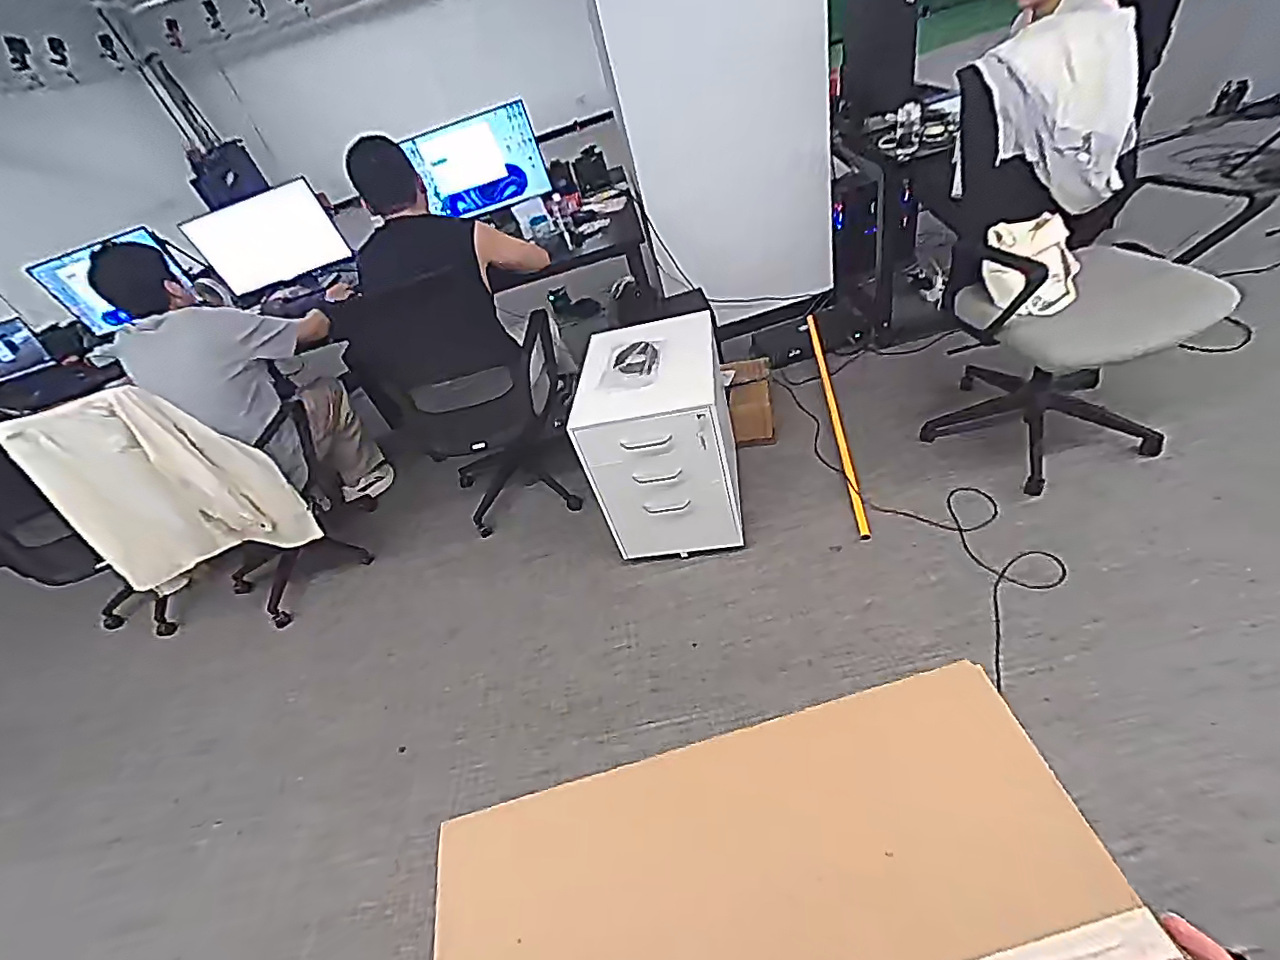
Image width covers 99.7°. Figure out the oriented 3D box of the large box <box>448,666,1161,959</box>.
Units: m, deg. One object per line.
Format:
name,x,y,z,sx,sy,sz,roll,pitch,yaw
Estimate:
large box,0.116,0.397,0.402,0.408,0.320,0.320,-18,46,1
